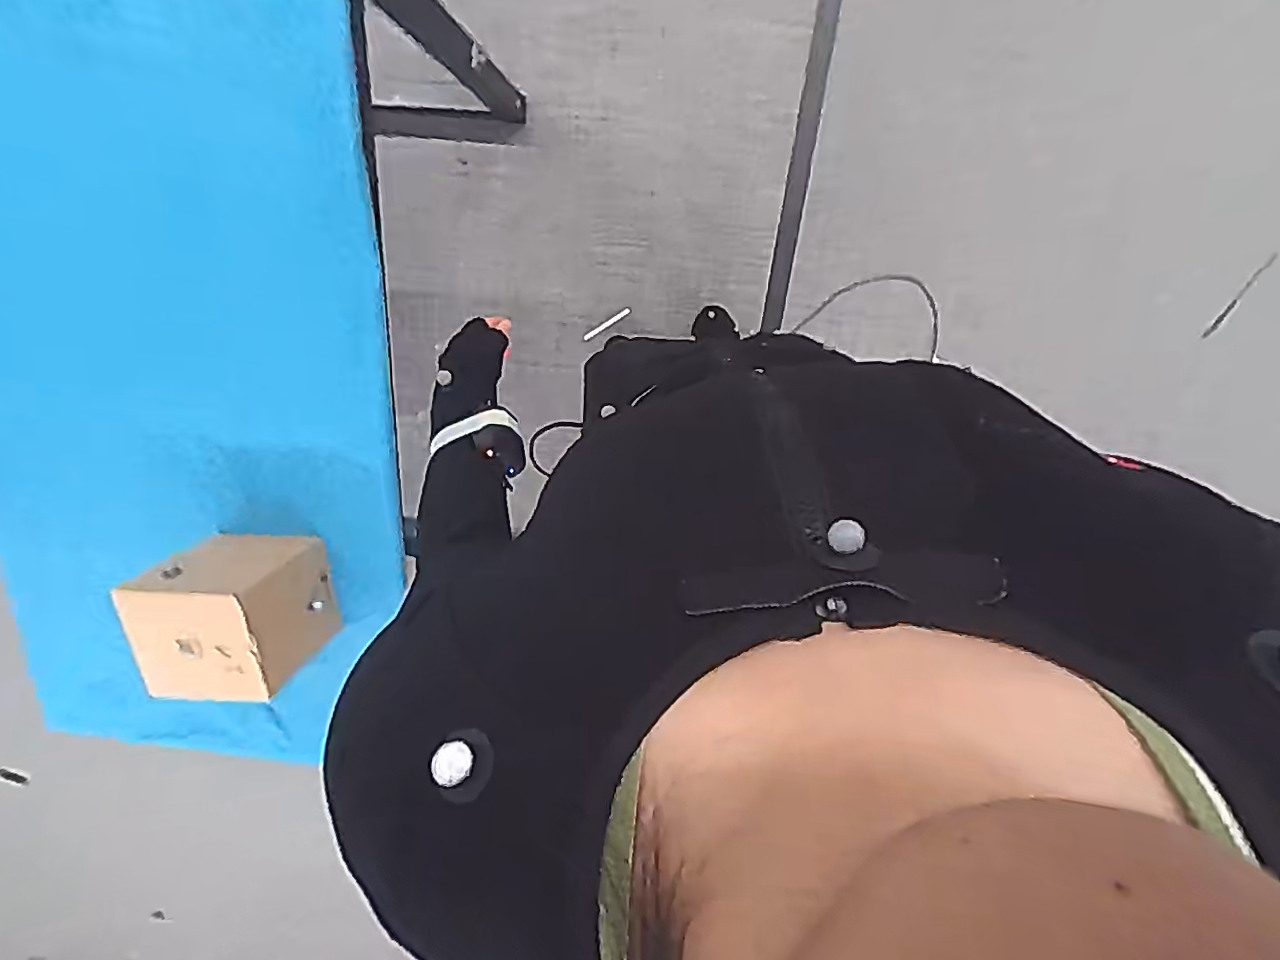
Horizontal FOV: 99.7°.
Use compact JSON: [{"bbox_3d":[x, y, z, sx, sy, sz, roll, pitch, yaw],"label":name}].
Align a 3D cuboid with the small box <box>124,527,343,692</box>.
[{"bbox_3d":[-0.570,0.177,0.784,0.179,0.176,0.168,4,111,2],"label":"small box"}]
